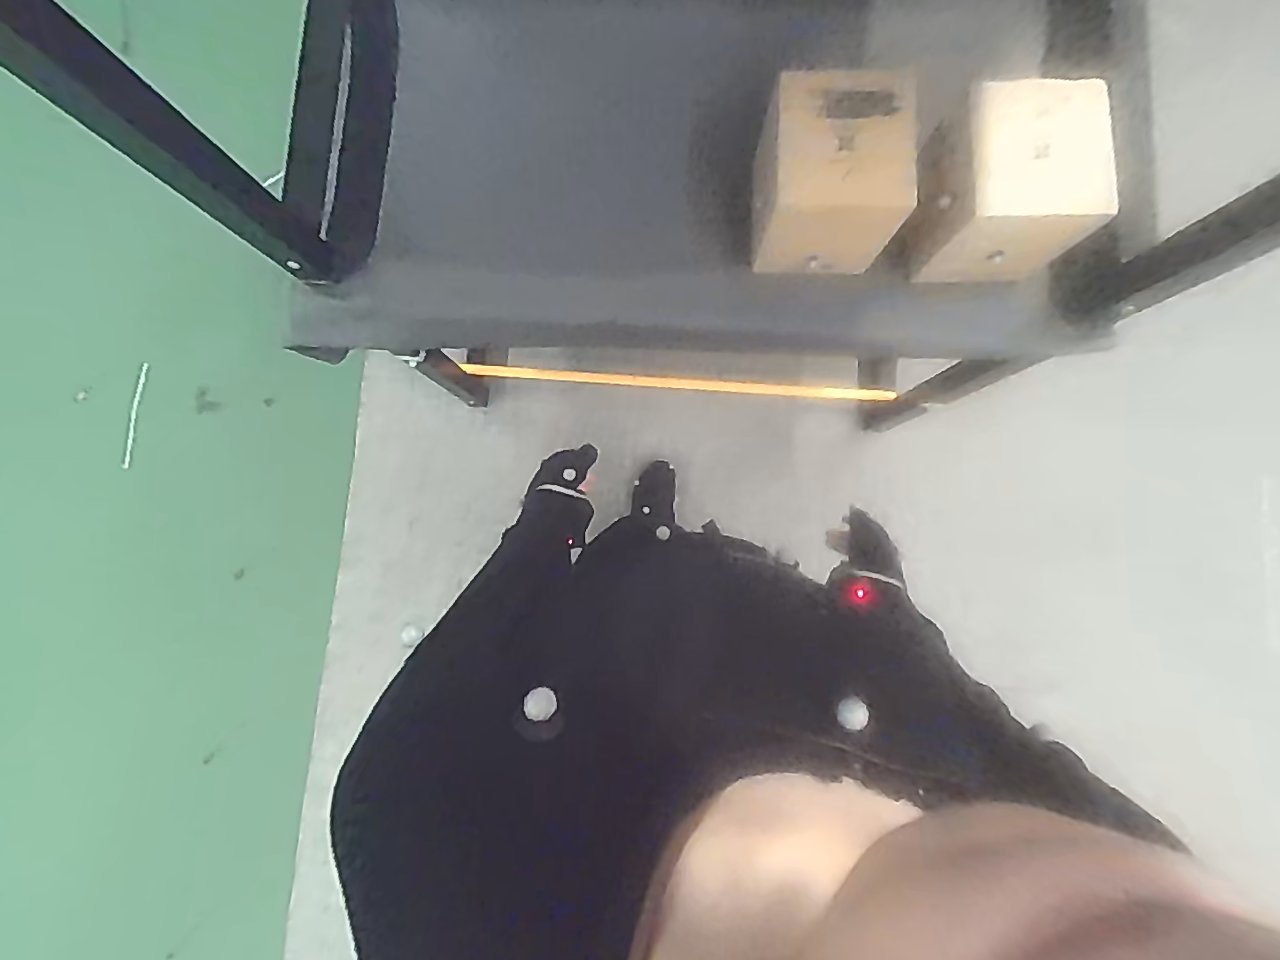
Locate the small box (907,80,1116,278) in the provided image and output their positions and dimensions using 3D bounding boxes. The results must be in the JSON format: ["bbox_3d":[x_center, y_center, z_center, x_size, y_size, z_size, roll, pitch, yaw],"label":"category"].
[{"bbox_3d":[0.478,-0.386,0.723,0.168,0.176,0.179,0,83,1],"label":"small box"}]
